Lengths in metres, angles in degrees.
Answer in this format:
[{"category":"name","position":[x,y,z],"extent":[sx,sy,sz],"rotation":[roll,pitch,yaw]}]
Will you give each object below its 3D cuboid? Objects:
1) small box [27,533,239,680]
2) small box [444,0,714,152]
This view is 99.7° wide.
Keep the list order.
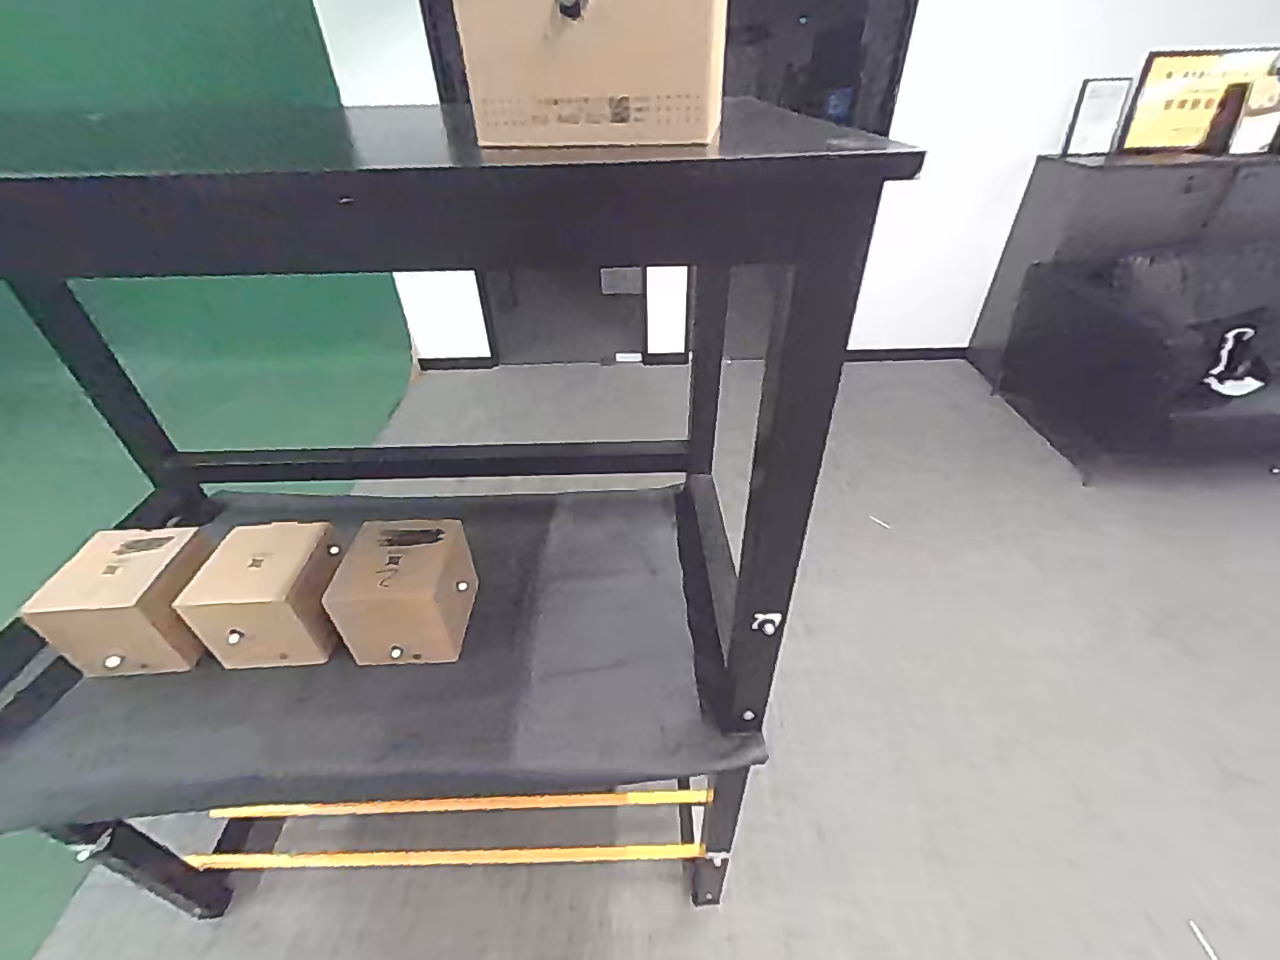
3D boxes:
[{"category":"small box","position":[-0.822,0.210,0.908],"extent":[0.168,0.176,0.179],"rotation":[-3,38,-2]},{"category":"small box","position":[-0.033,-0.345,0.396],"extent":[0.168,0.176,0.179],"rotation":[4,37,8]}]
